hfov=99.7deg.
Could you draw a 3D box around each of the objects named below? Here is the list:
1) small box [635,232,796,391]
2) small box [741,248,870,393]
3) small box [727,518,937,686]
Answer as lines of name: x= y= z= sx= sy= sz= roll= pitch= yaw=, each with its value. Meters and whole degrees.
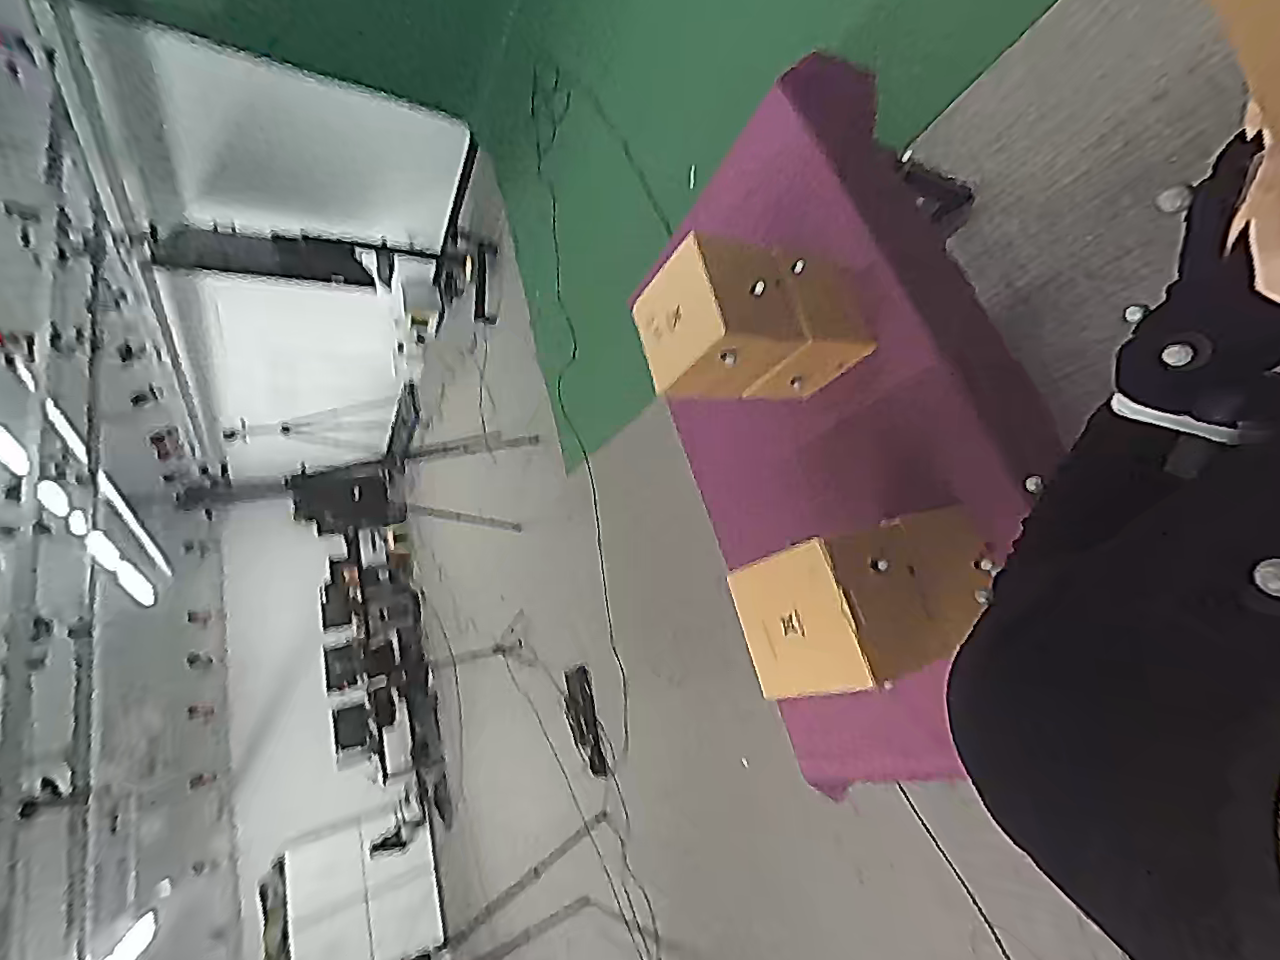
small box: x=0.120 y=-0.251 z=0.846 sx=0.179 sy=0.176 sz=0.168 roll=-36 pitch=64 yaw=53
small box: x=0.260 y=-0.265 z=0.932 sx=0.168 sy=0.176 sz=0.179 roll=-39 pitch=61 yaw=52
small box: x=0.250 y=0.156 z=0.701 sx=0.179 sy=0.176 sz=0.168 roll=-39 pitch=62 yaw=53
